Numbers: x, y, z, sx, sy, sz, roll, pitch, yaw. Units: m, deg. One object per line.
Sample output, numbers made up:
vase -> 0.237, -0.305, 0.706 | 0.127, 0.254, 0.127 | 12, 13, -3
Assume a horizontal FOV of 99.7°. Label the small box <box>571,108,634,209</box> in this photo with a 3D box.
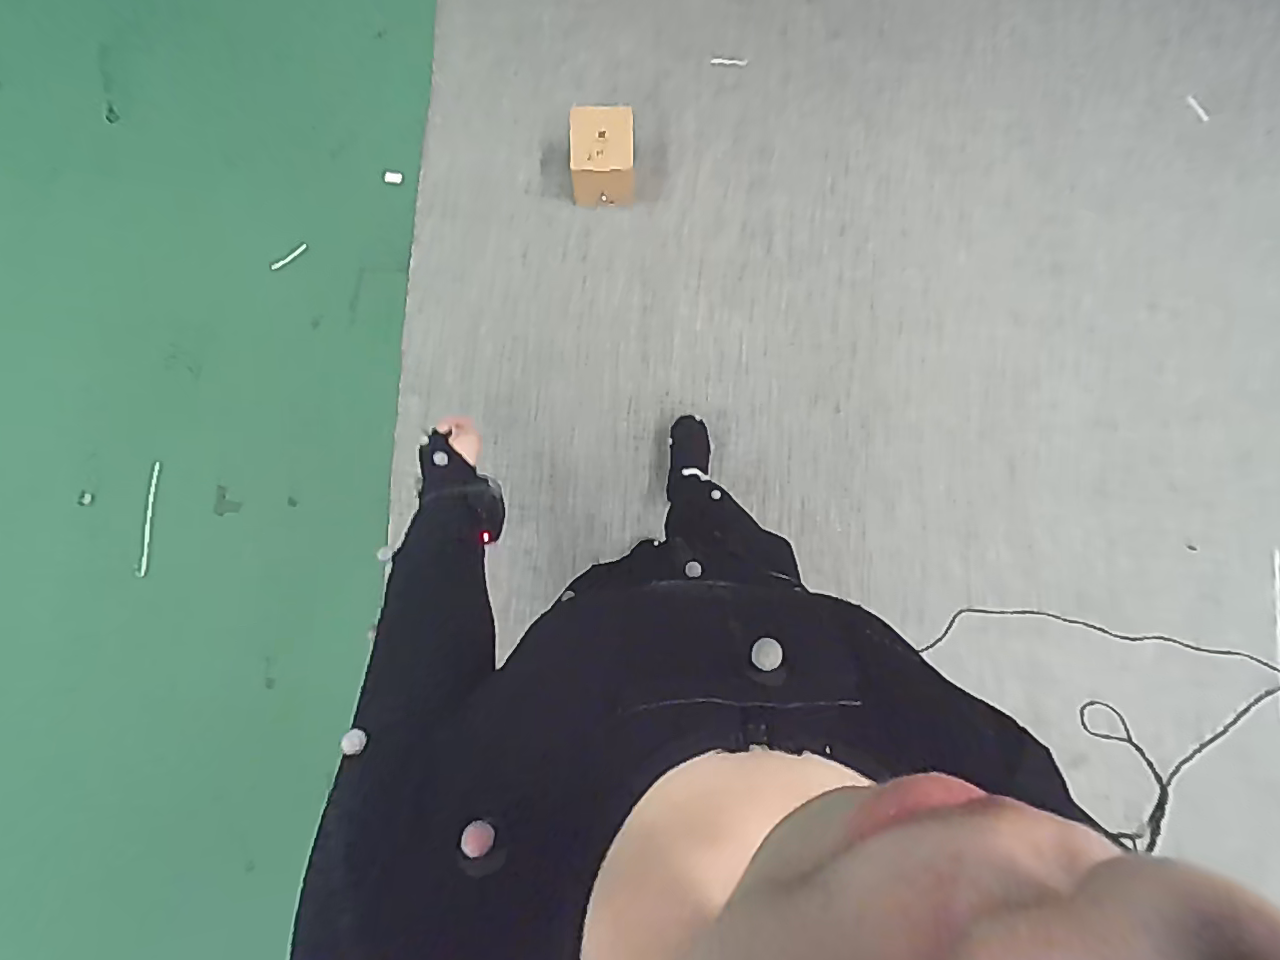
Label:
small box -> -0.100, -0.877, 1.481 | 0.168, 0.176, 0.179 | 0, 86, -1
